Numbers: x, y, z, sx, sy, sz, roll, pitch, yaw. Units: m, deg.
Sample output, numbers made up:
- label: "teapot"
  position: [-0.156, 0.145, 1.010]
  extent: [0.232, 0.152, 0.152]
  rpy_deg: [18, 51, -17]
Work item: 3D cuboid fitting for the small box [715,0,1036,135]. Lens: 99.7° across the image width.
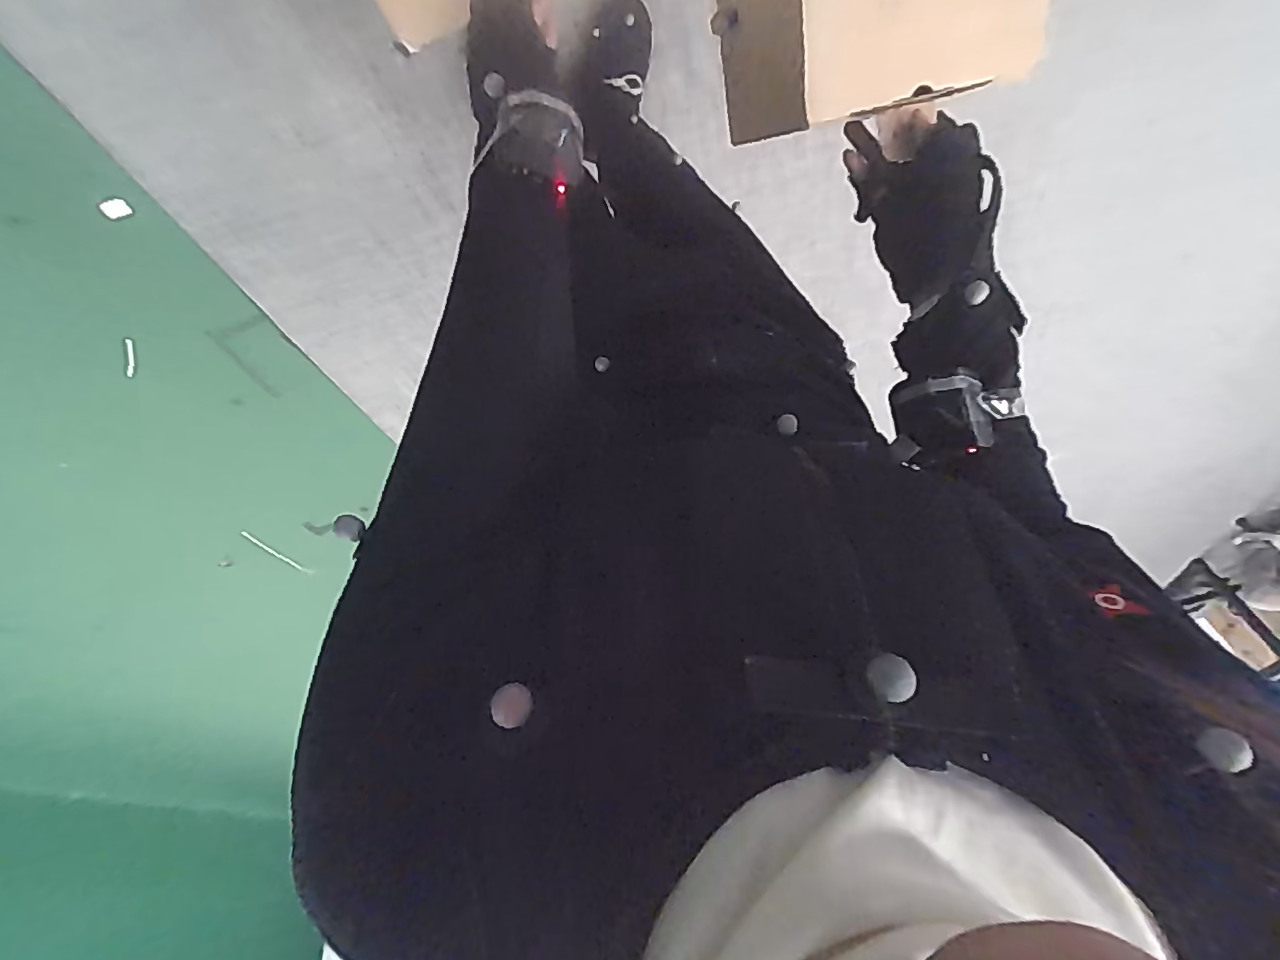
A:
- label: "small box"
  position: [0.158, -0.371, 0.397]
  extent: [0.168, 0.176, 0.179]
  rpy_deg: [-16, 120, -3]
